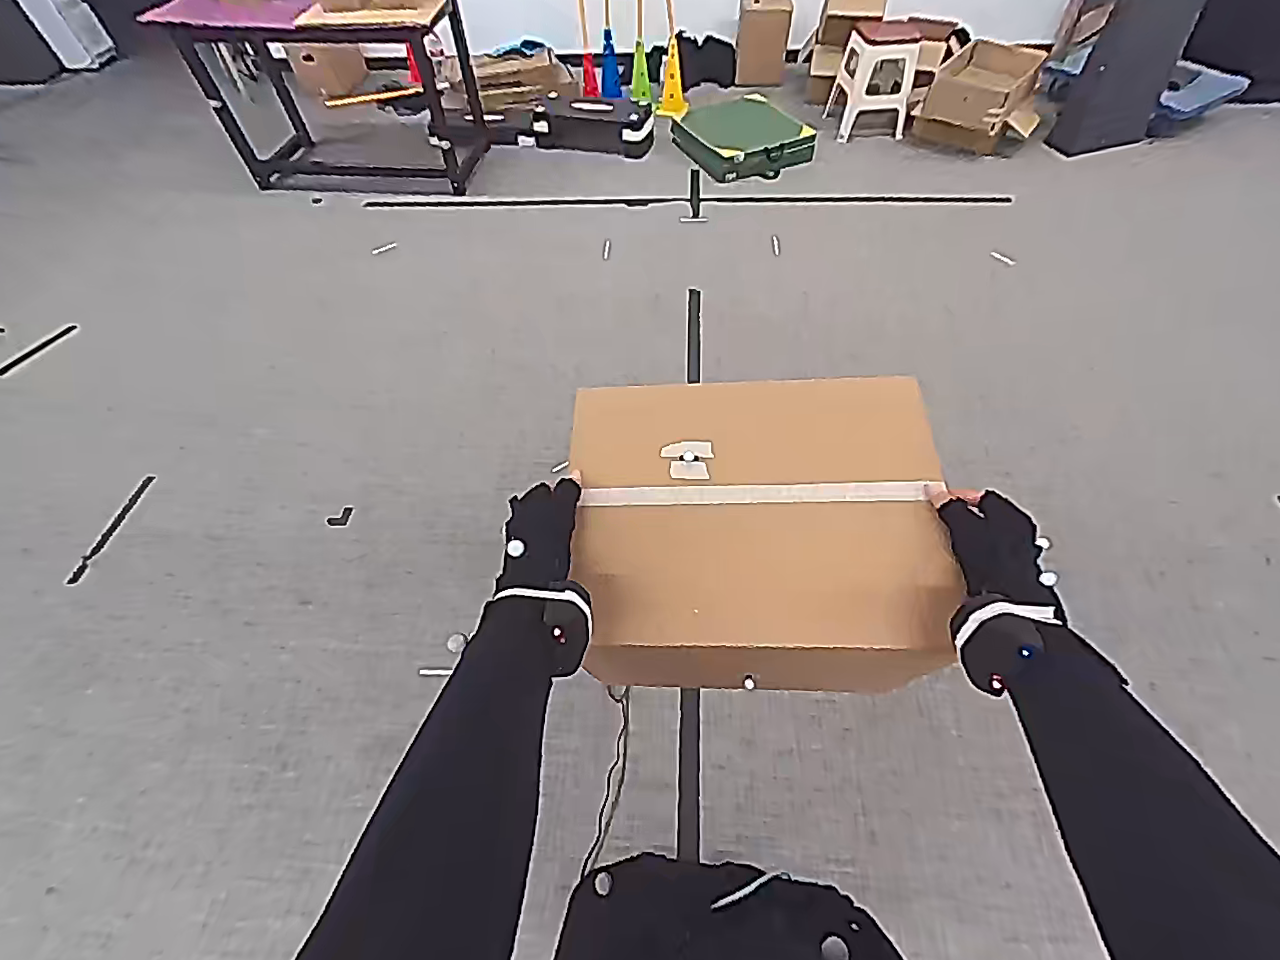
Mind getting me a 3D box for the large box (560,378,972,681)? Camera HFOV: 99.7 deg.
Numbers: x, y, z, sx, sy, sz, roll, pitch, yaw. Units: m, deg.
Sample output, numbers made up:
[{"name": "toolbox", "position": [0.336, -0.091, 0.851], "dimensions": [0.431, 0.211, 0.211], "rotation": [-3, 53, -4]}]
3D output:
[{"name": "large box", "position": [0.138, 0.089, 0.724], "dimensions": [0.408, 0.320, 0.320], "rotation": [-1, 61, 7]}]
